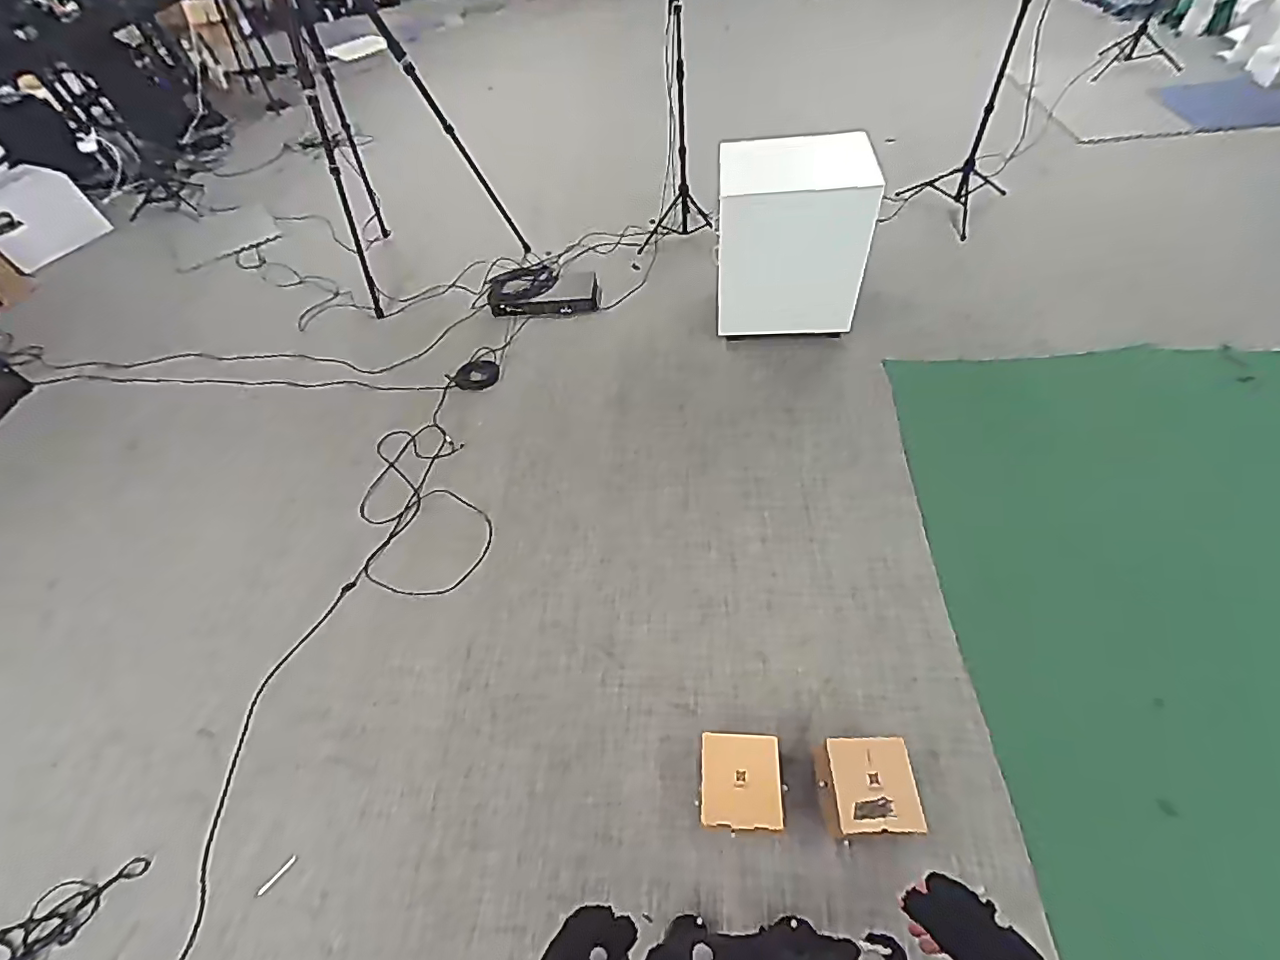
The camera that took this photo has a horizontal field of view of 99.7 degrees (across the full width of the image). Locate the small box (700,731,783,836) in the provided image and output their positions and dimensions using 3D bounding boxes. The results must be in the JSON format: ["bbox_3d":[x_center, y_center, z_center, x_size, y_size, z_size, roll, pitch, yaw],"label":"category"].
[{"bbox_3d":[0.219,0.676,1.202,0.168,0.176,0.179,0,54,7],"label":"small box"}]

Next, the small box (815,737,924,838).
[{"bbox_3d":[0.485,0.669,1.172,0.168,0.176,0.179,-3,52,5],"label":"small box"}]
